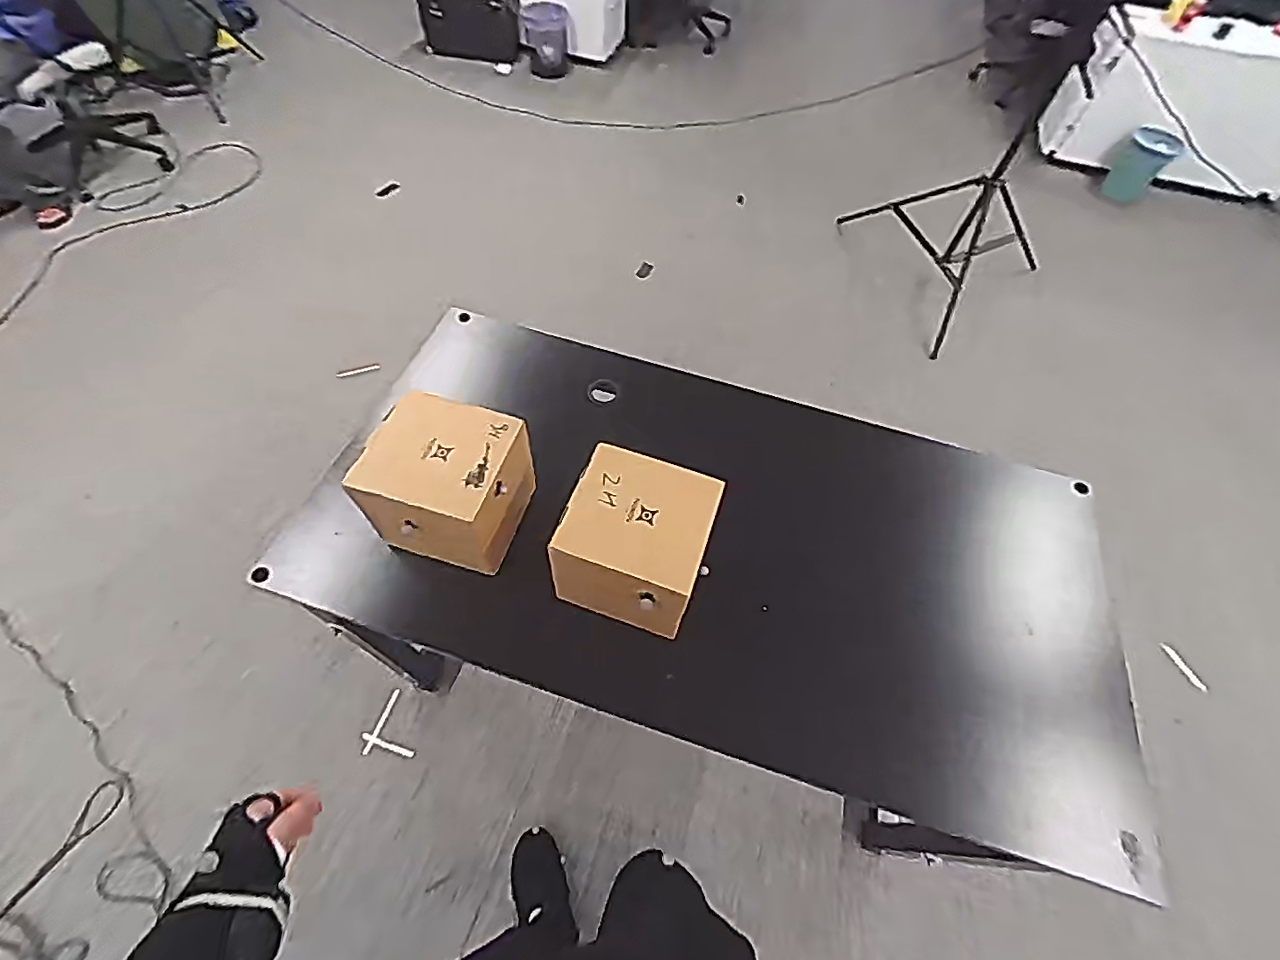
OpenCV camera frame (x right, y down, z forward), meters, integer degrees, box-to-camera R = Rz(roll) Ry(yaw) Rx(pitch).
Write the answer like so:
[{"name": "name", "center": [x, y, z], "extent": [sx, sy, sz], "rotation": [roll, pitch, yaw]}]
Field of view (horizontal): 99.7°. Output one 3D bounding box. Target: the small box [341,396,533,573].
[{"name": "small box", "center": [-0.267, 0.012, 0.759], "extent": [0.179, 0.176, 0.168], "rotation": [15, 58, 6]}]

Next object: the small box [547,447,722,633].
[{"name": "small box", "center": [-0.007, 0.088, 0.727], "extent": [0.179, 0.176, 0.168], "rotation": [18, 57, 8]}]
